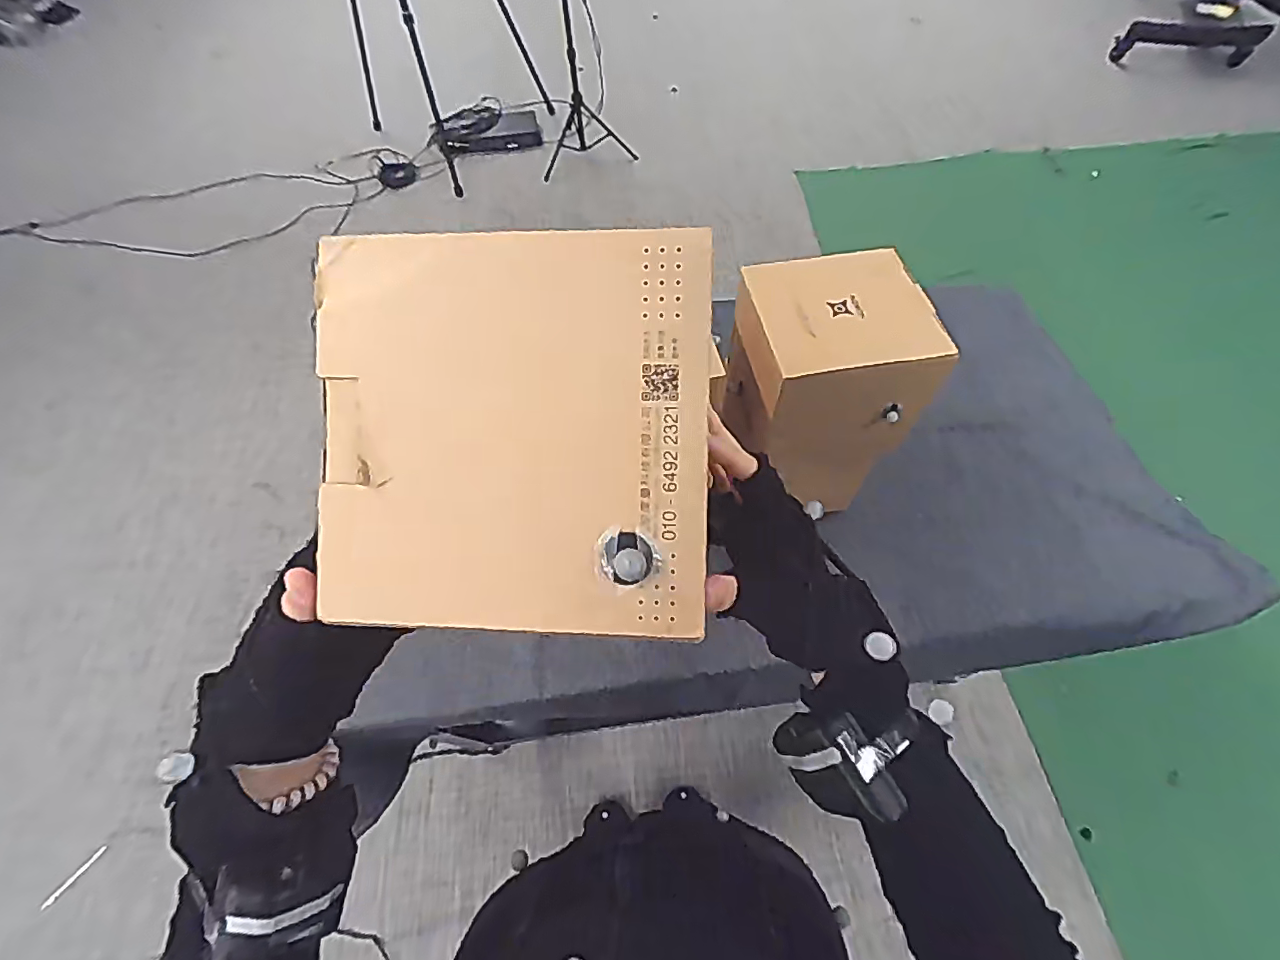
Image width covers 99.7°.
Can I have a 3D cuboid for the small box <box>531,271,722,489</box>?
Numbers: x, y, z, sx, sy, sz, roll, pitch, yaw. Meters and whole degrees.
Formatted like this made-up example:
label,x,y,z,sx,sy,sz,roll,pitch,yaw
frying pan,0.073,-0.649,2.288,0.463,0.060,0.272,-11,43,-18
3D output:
label,x,y,z,sx,sy,sz,roll,pitch,yaw
small box,-0.015,-0.106,0.623,0.179,0.176,0.168,-12,60,-4
